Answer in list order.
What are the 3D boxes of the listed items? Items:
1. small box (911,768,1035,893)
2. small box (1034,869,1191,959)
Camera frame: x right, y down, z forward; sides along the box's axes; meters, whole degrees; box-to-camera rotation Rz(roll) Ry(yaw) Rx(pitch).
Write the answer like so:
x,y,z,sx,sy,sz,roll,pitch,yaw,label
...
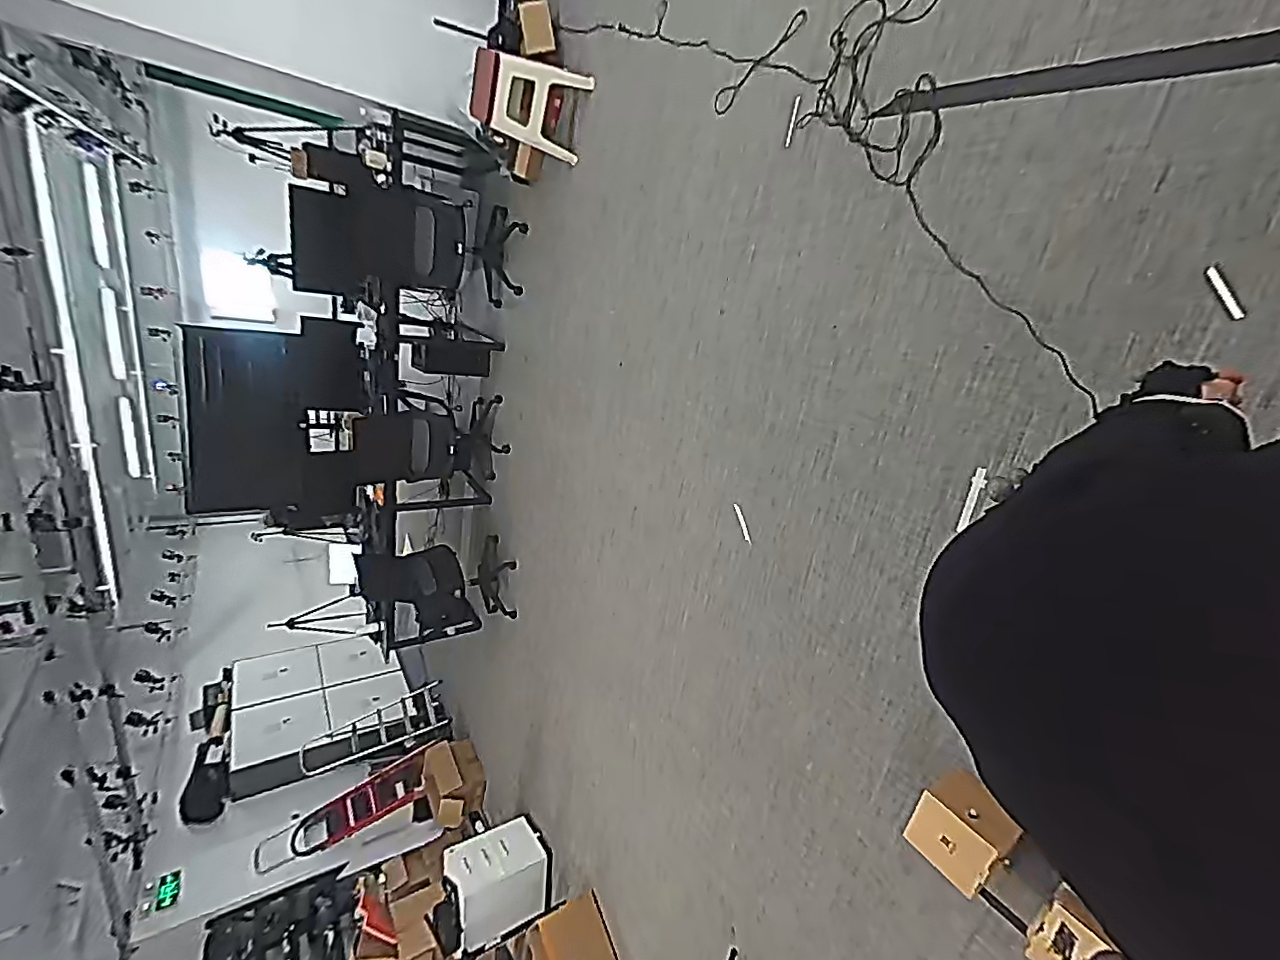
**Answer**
x,y,z,sx,sy,sz,roll,pitch,yaw,label
0.813,0.841,1.324,0.179,0.176,0.168,35,121,48,small box
0.967,0.947,1.110,0.179,0.176,0.168,34,120,48,small box
